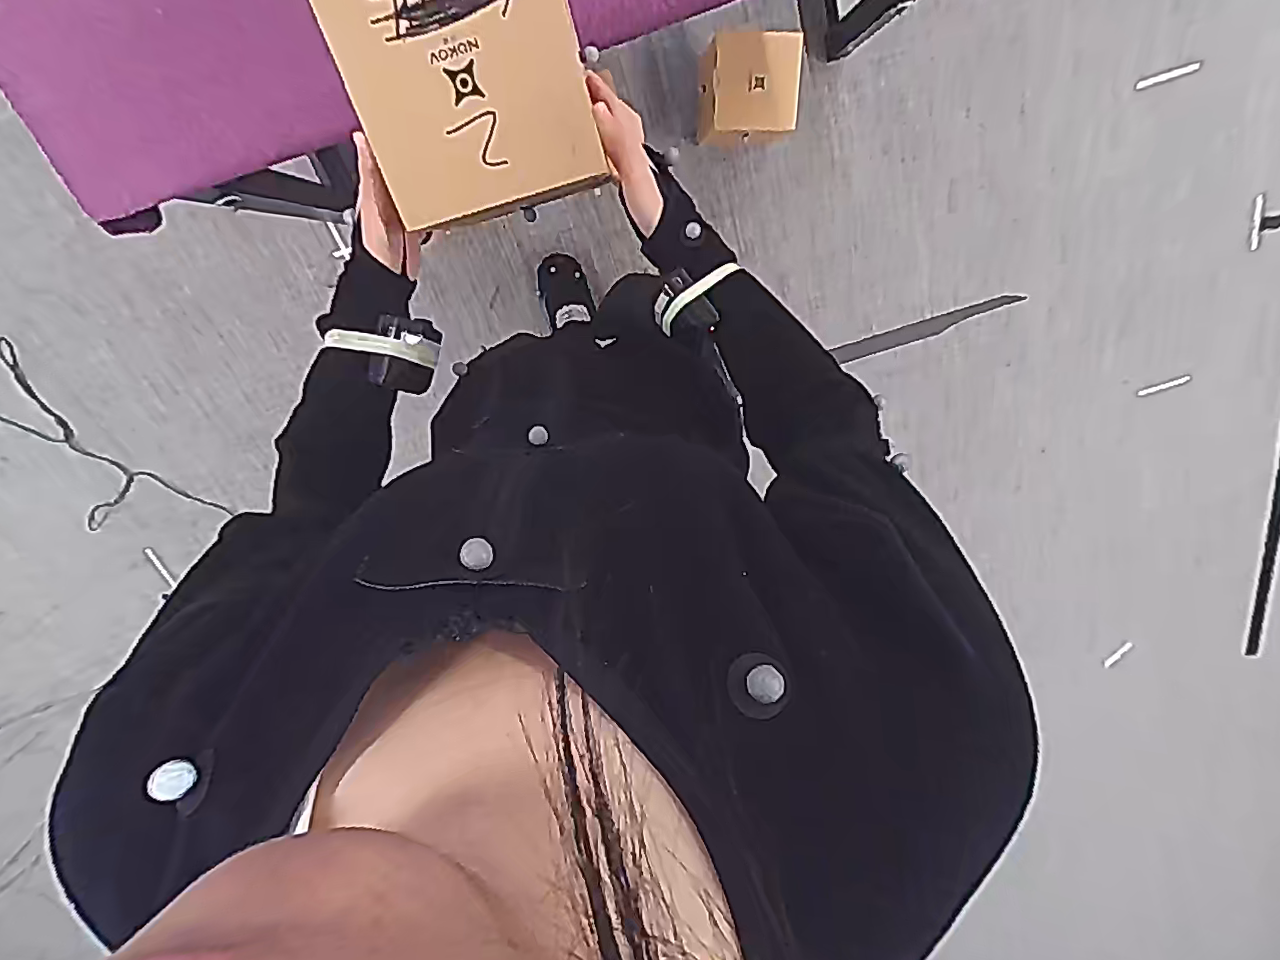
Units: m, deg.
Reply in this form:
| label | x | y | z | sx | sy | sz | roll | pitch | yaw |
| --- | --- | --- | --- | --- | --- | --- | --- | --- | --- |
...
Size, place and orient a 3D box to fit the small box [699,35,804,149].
| label | x | y | z | sx | sy | sz | roll | pitch | yaw |
| --- | --- | --- | --- | --- | --- | --- | --- | --- | --- |
| small box | 0.229 | -0.818 | 1.154 | 0.179 | 0.176 | 0.168 | -2 | 112 | -4 |

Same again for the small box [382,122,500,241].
| label | x | y | z | sx | sy | sz | roll | pitch | yaw |
| --- | --- | --- | --- | --- | --- | --- | --- | --- | --- |
| small box | -0.418 | -0.631 | 1.165 | 0.168 | 0.176 | 0.179 | -16 | 111 | 1 |

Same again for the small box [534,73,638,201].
| label | x | y | z | sx | sy | sz | roll | pitch | yaw |
| --- | --- | --- | --- | --- | --- | --- | --- | --- | --- |
| small box | -0.114 | -0.722 | 1.157 | 0.168 | 0.176 | 0.179 | -19 | 113 | 2 |
